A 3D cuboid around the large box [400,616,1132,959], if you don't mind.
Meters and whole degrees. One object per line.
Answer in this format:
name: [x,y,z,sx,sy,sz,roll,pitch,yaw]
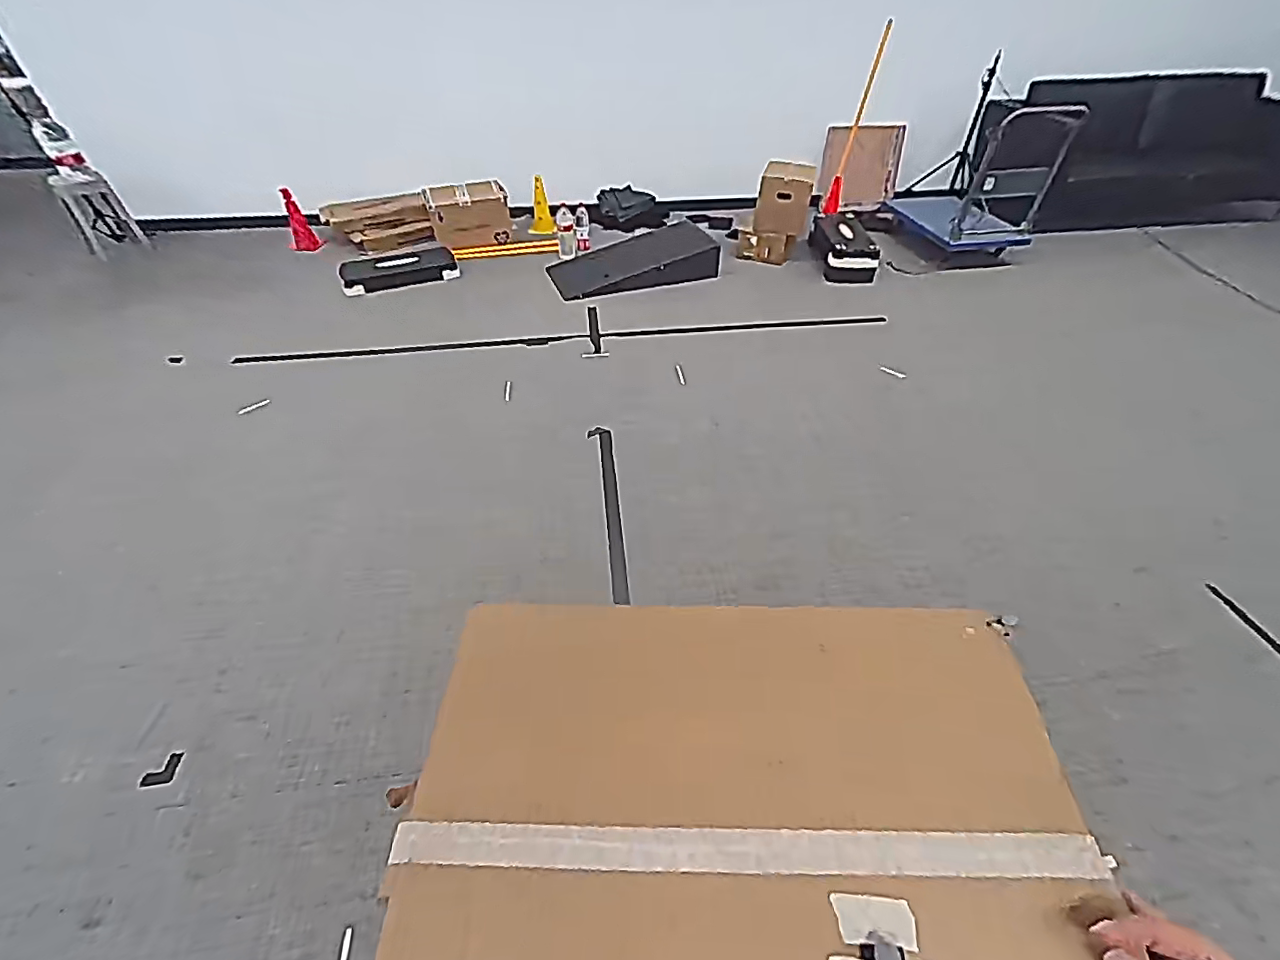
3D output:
large box: [0.068,0.321,0.437,0.408,0.320,0.320,0,50,1]
